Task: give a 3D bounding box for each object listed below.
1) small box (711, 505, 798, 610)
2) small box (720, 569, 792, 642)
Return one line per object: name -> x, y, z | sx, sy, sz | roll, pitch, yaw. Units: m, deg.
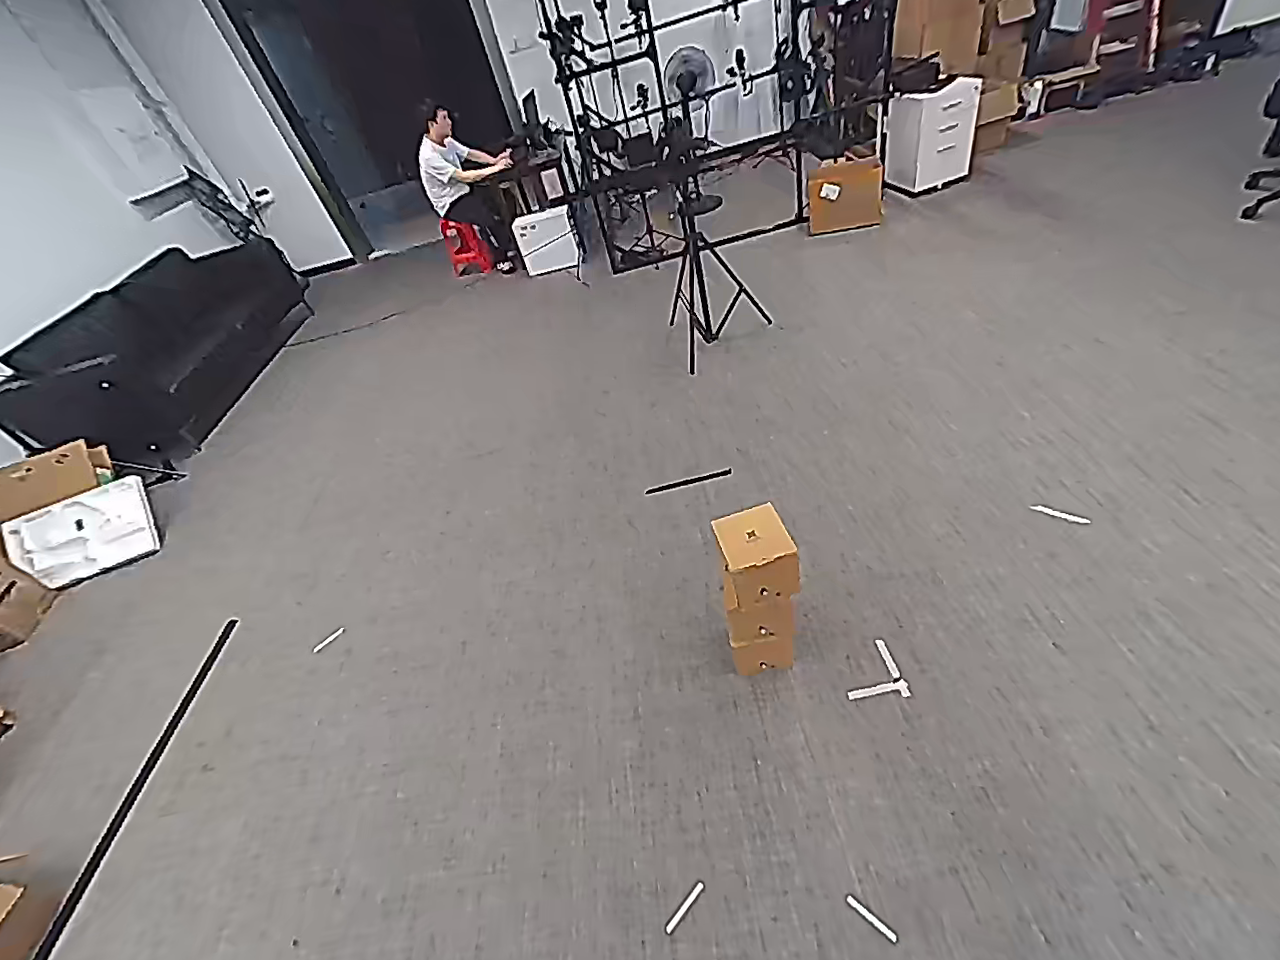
small box -> 0.292, 0.198, 1.379 | 0.168, 0.176, 0.179 | -18, 41, 0
small box -> 0.317, 0.319, 1.486 | 0.168, 0.176, 0.179 | -11, 42, 9
